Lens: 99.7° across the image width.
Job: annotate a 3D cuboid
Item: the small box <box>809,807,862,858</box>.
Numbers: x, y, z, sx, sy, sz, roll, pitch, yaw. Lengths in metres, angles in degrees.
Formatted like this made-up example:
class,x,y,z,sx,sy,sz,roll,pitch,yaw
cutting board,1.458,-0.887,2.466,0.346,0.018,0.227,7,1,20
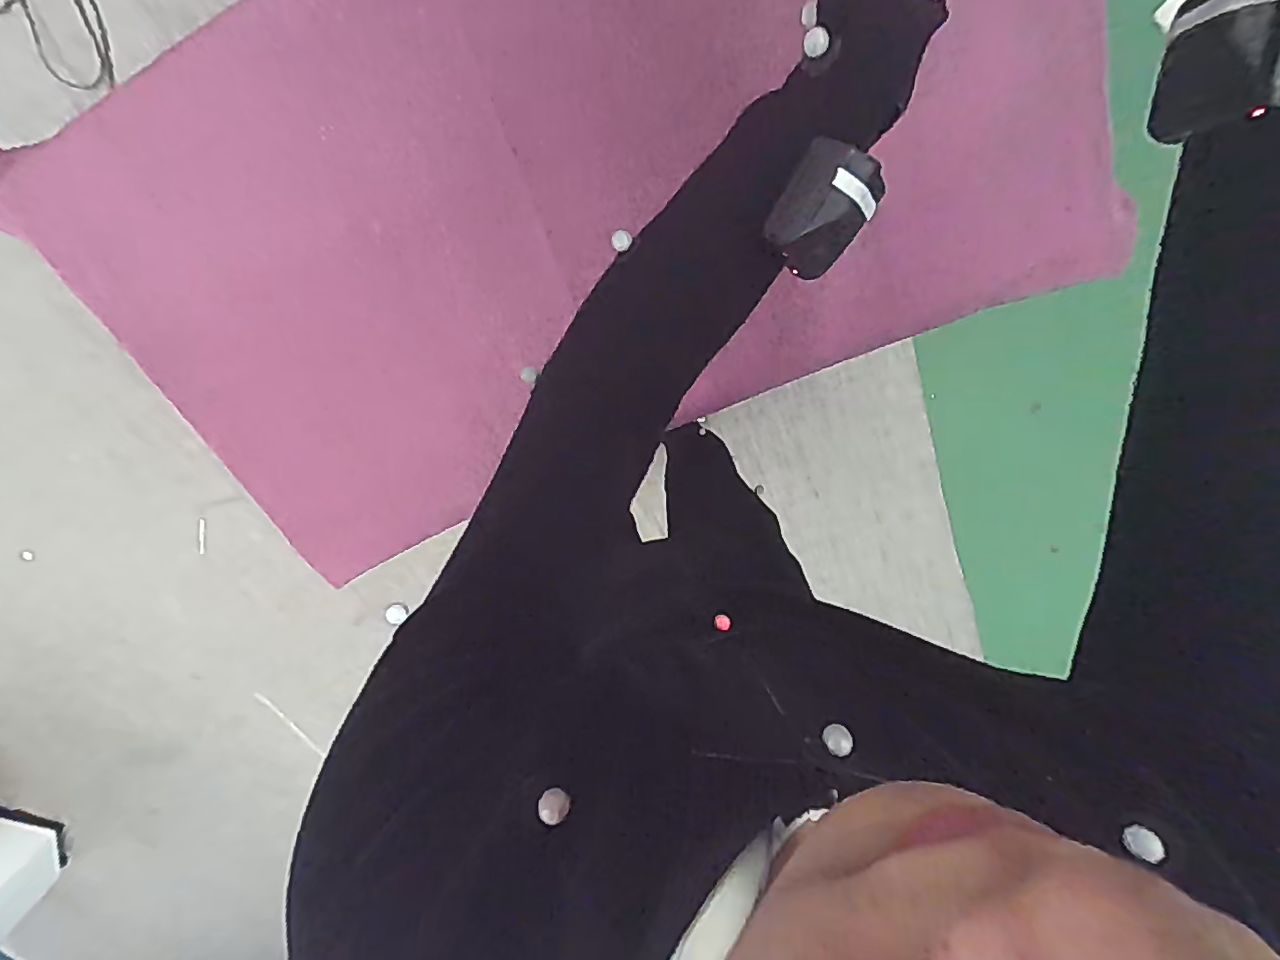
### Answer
class,x,y,z,sx,sy,sz,roll,pitch,yaw
small box,0.781,1.434,2.136,0.168,0.176,0.179,-17,115,10
